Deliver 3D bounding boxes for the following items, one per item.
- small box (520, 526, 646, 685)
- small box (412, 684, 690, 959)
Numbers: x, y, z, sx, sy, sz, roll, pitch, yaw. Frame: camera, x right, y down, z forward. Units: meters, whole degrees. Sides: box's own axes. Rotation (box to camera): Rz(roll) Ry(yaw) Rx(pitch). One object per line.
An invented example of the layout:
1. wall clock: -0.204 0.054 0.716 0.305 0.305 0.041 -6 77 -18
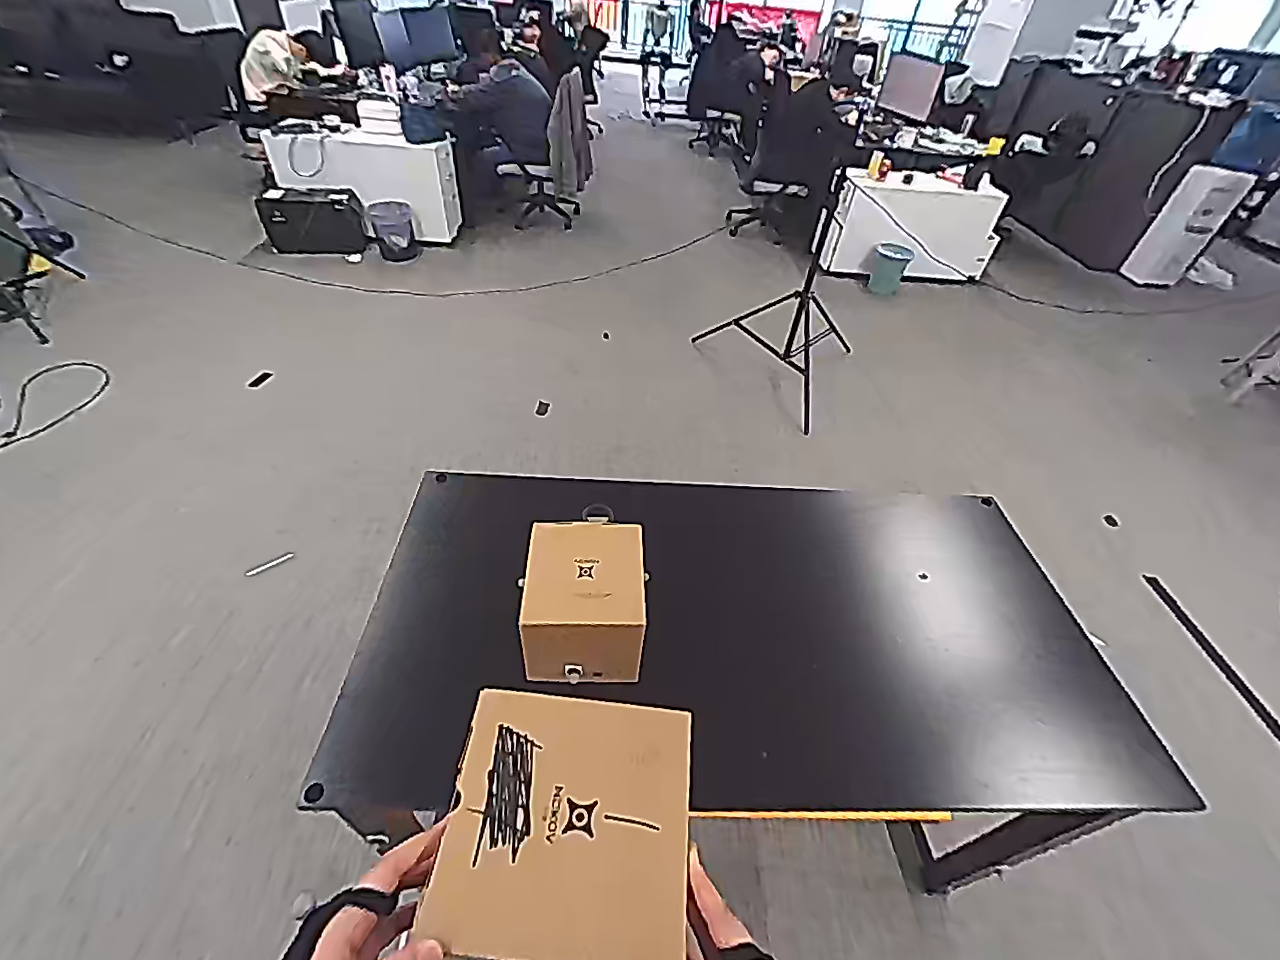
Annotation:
1. small box: -0.082 0.188 0.814 0.168 0.176 0.179 0 44 -4
2. small box: -0.057 0.293 0.453 0.179 0.176 0.168 7 47 1
